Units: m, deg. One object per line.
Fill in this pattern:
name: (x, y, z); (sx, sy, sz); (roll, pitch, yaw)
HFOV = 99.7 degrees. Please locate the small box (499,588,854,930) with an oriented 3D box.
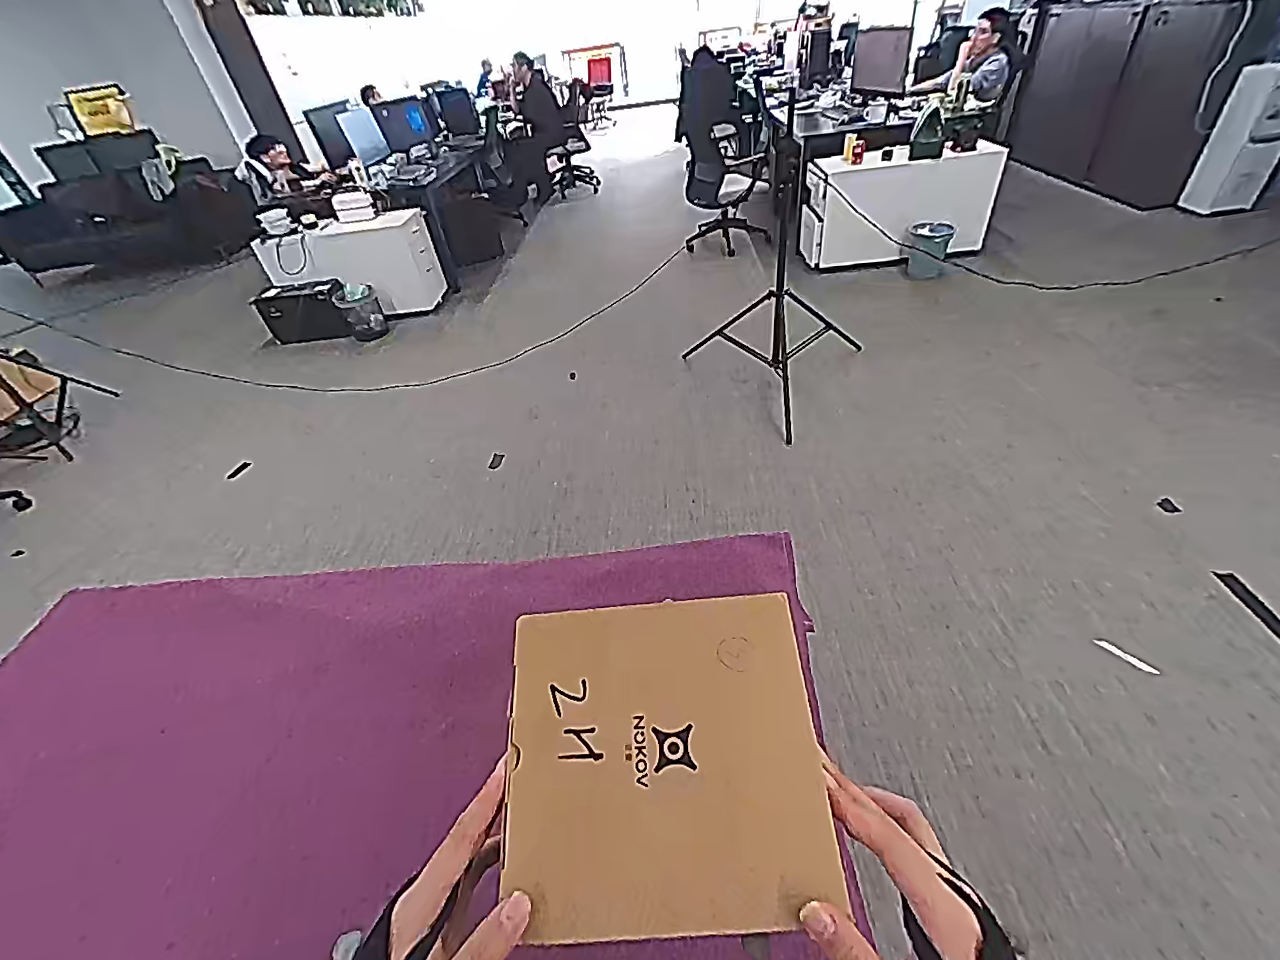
small box: (0.021, 0.185, 0.369); (0.179, 0.176, 0.168); (-6, 58, 4)
